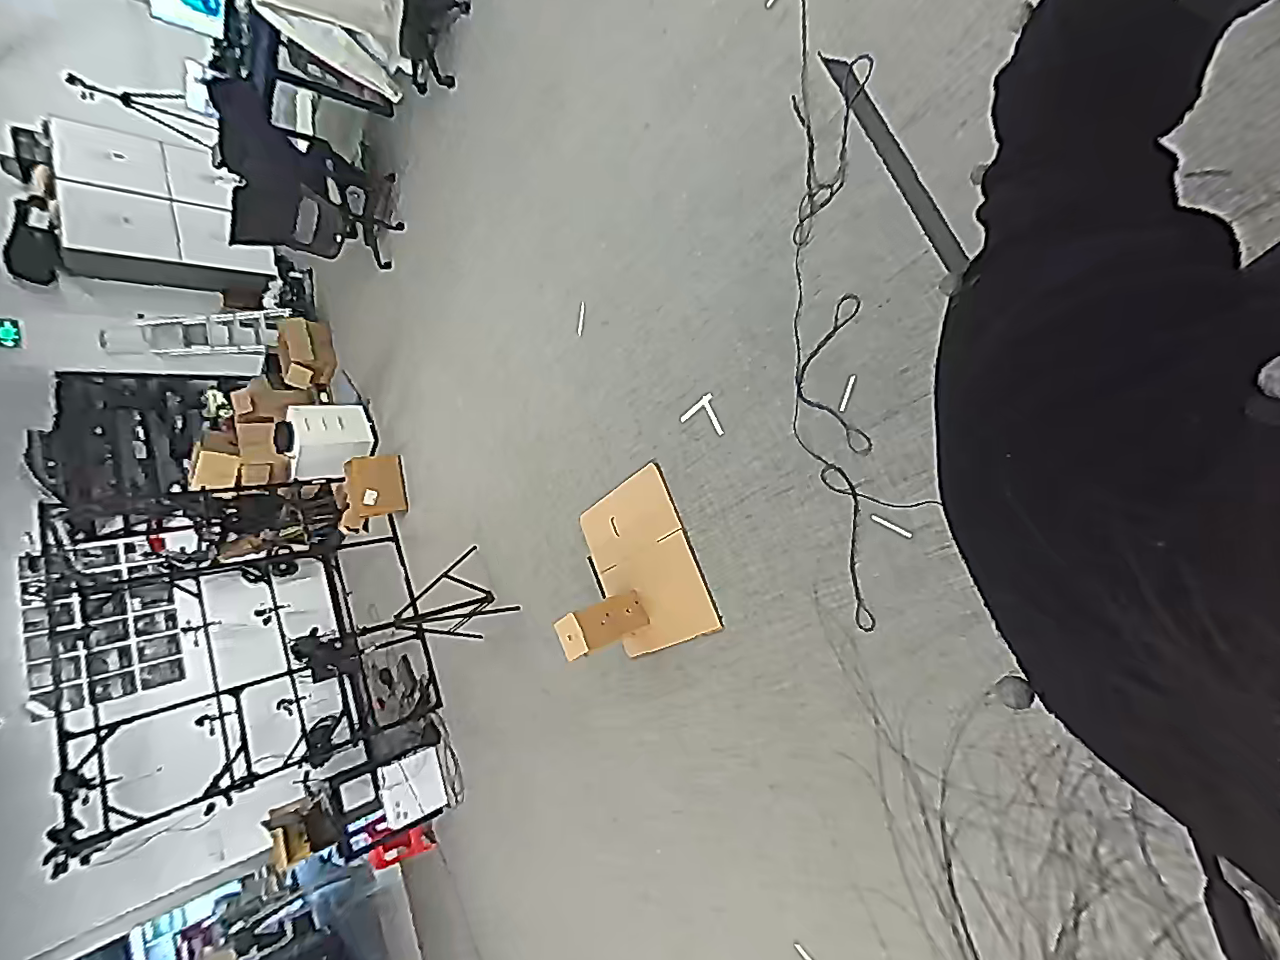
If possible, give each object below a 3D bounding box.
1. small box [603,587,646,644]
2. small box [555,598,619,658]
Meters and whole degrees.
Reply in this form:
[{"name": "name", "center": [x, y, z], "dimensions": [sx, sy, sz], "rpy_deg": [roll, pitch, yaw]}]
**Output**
[{"name": "small box", "center": [-0.094, 0.577, 2.312], "dimensions": [0.179, 0.176, 0.168], "rpy_deg": [-44, 64, 41]}, {"name": "small box", "center": [-0.214, 0.601, 2.201], "dimensions": [0.179, 0.176, 0.168], "rpy_deg": [-43, 67, 43]}]
